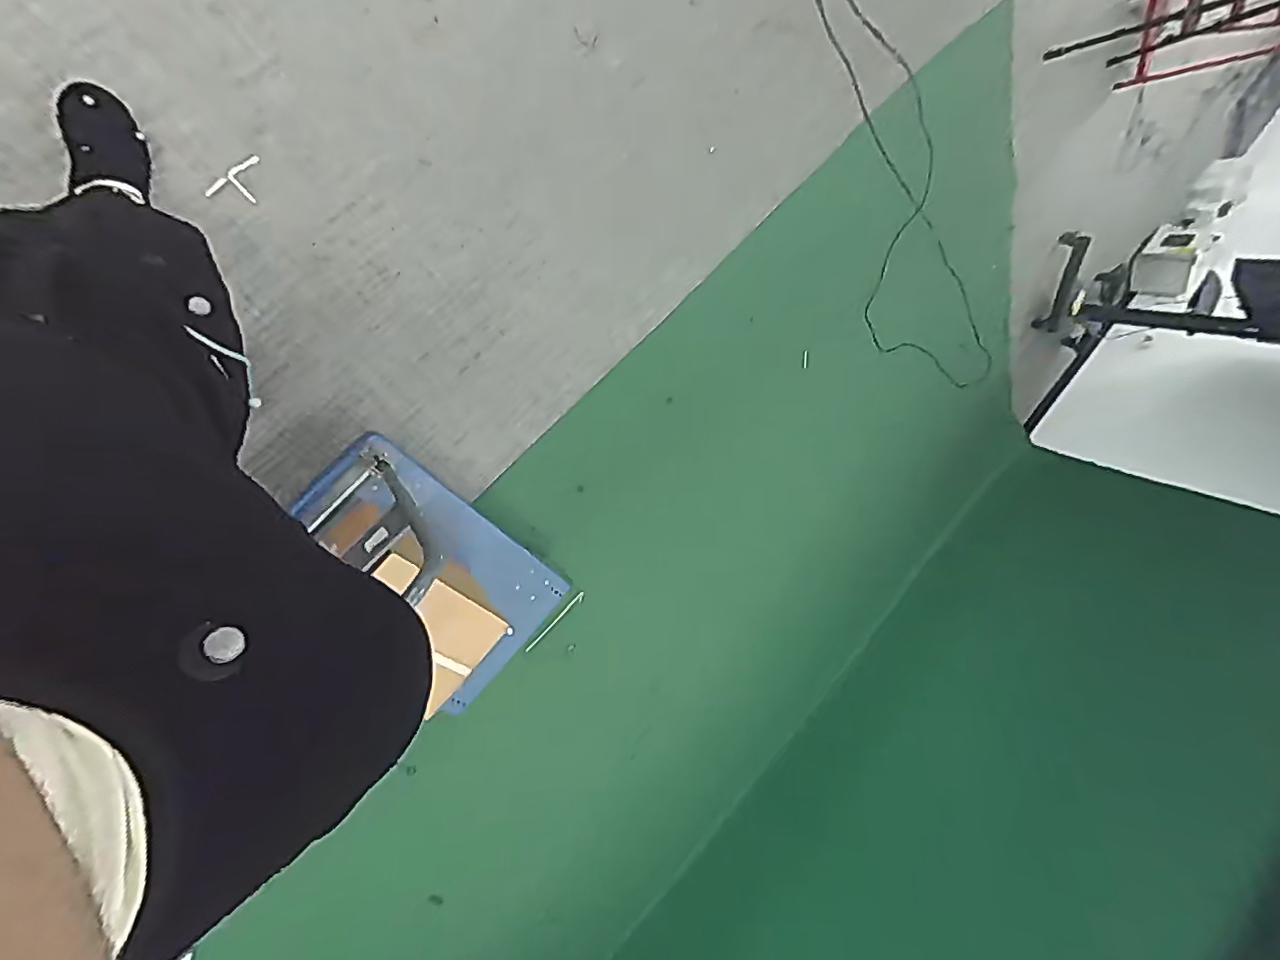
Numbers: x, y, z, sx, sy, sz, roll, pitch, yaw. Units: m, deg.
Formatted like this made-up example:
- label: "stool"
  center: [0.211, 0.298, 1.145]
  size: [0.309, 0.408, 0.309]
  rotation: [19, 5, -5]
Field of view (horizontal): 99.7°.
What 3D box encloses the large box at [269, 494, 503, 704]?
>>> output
- label: "large box"
  center: [-0.643, 0.302, 1.386]
  size: [0.320, 0.320, 0.408]
  rotation: [-48, 133, -9]
